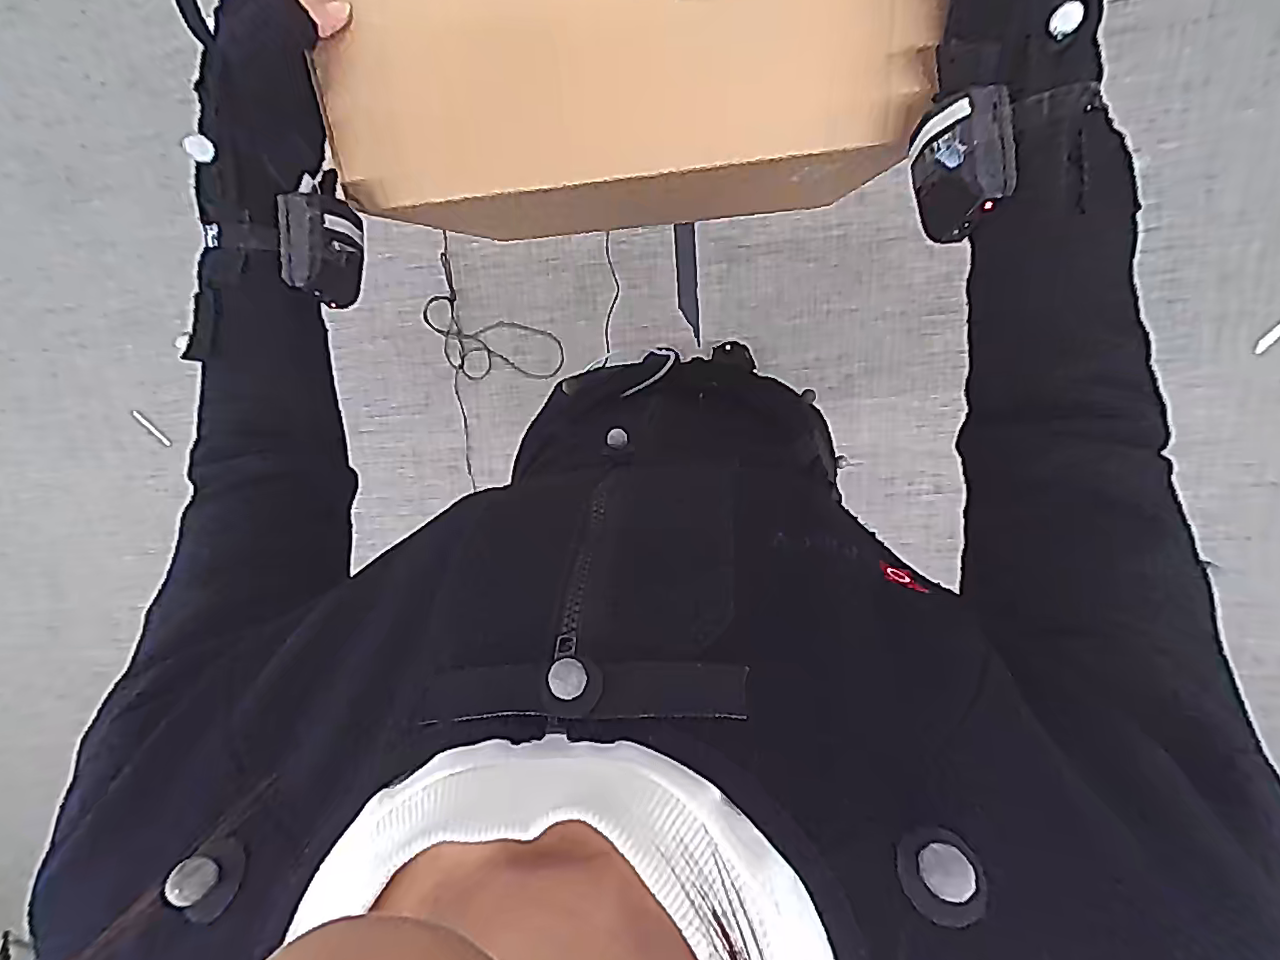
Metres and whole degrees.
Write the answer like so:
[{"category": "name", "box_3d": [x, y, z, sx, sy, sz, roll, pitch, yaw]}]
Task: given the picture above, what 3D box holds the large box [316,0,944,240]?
[{"category": "large box", "box_3d": [-0.009, -0.409, 0.463, 0.408, 0.320, 0.320, -4, 110, 6]}]
